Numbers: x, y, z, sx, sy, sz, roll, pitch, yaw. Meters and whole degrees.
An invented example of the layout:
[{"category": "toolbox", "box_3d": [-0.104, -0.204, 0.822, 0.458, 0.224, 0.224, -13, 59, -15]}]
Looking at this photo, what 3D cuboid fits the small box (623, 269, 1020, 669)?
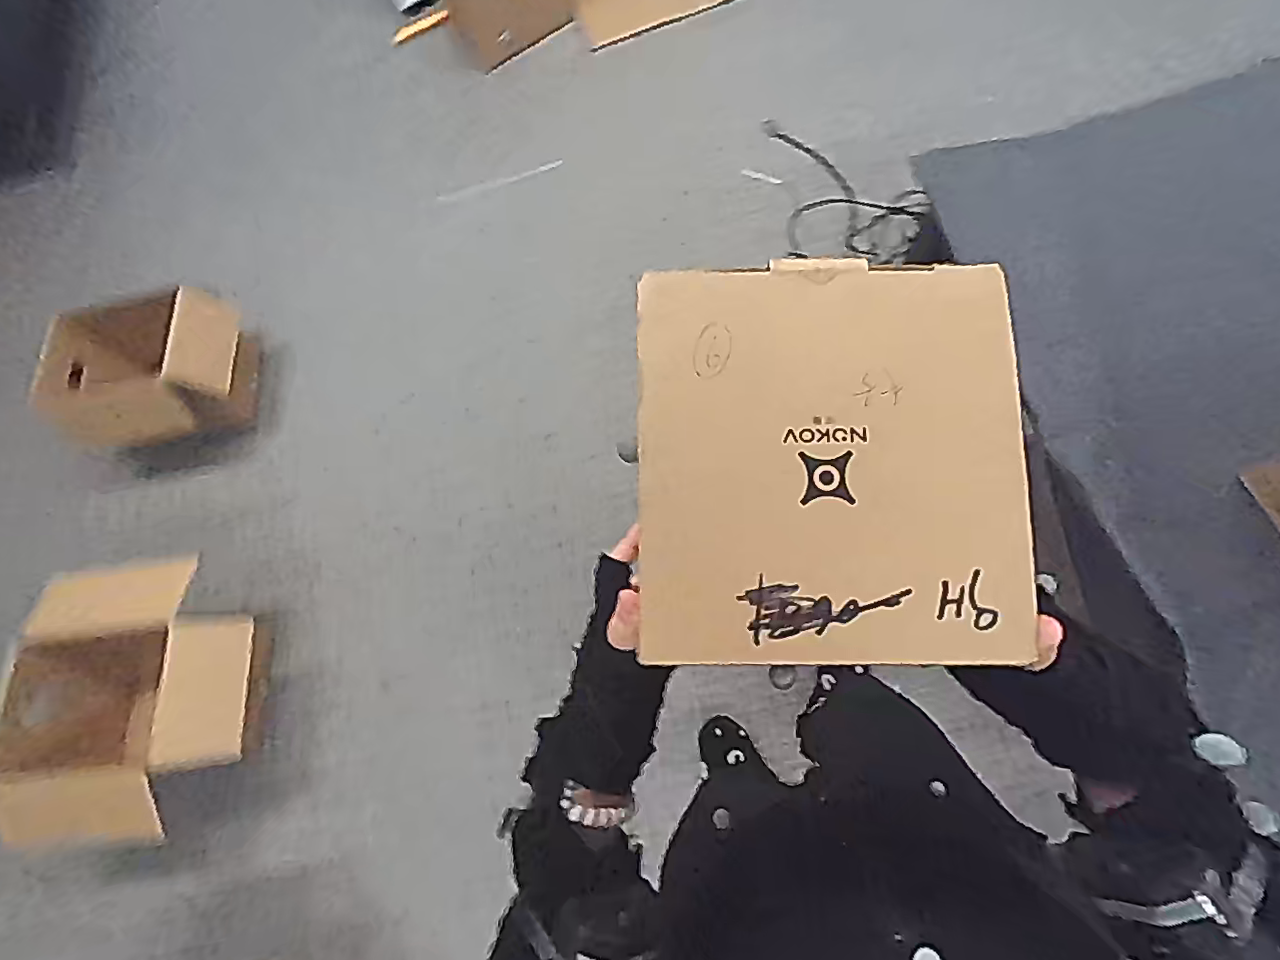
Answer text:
[{"category": "small box", "box_3d": [0.074, 0.002, 0.312, 0.168, 0.176, 0.179, -1, 83, 1]}]
